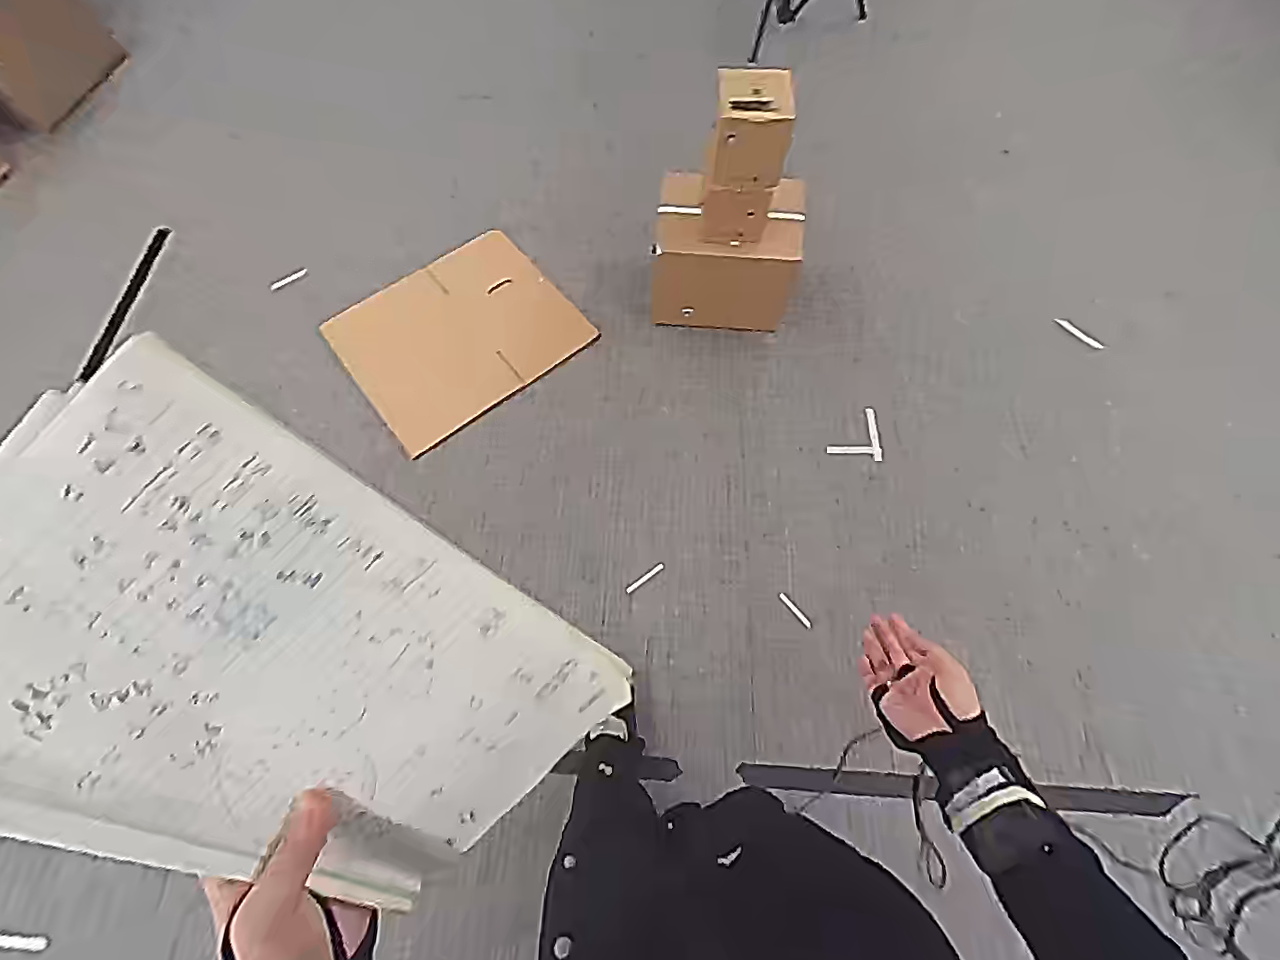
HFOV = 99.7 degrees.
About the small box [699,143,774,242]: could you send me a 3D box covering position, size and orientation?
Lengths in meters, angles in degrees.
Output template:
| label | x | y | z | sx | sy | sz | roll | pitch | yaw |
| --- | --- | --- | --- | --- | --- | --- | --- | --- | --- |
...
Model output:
| label | x | y | z | sx | sy | sz | roll | pitch | yaw |
| --- | --- | --- | --- | --- | --- | --- | --- | --- | --- |
| small box | 0.250 | -0.754 | 1.430 | 0.168 | 0.176 | 0.179 | 0 | 67 | -1 |
